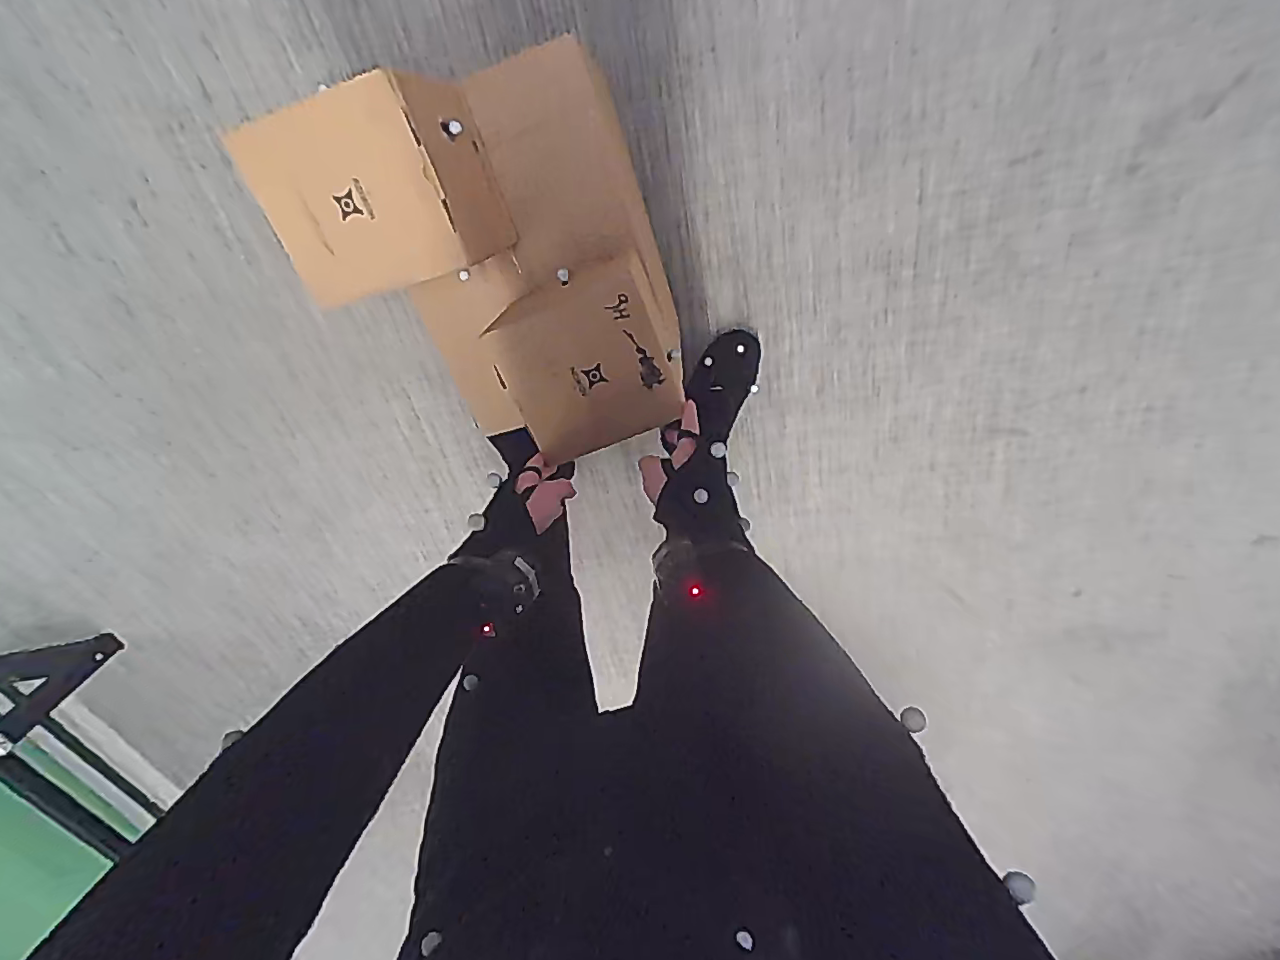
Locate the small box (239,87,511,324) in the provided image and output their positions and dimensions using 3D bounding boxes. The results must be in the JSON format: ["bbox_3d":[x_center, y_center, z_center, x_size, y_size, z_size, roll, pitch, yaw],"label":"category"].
[{"bbox_3d":[-0.257,-0.289,0.580,0.179,0.176,0.168,-12,117,14],"label":"small box"}]
